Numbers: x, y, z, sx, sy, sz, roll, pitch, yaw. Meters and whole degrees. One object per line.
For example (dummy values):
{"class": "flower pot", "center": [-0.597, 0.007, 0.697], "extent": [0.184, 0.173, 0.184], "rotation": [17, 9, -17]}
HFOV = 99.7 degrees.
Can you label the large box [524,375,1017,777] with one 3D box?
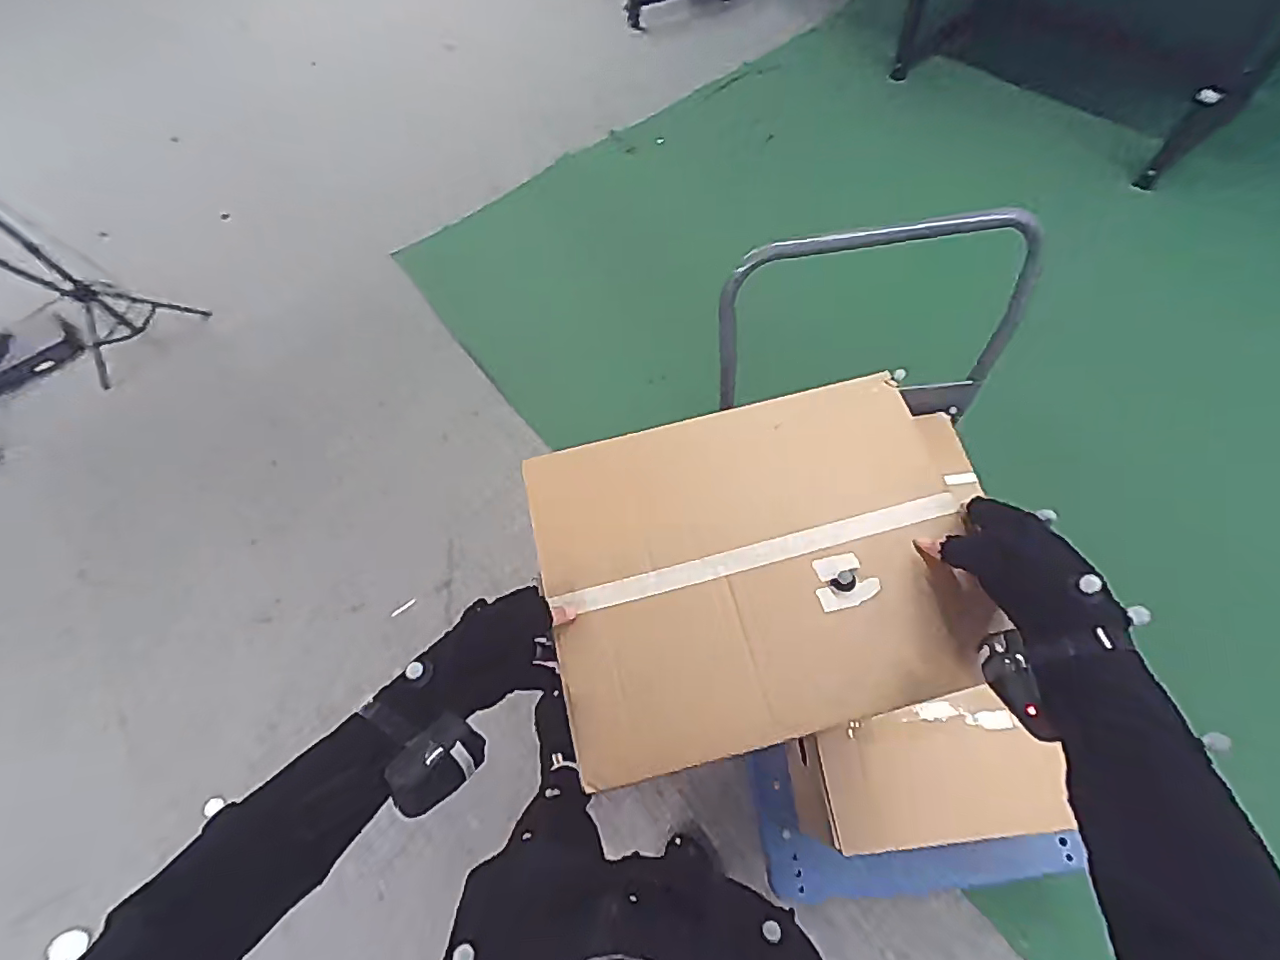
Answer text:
{"class": "large box", "center": [0.109, 0.126, 0.654], "extent": [0.408, 0.320, 0.320], "rotation": [-13, 67, -4]}
